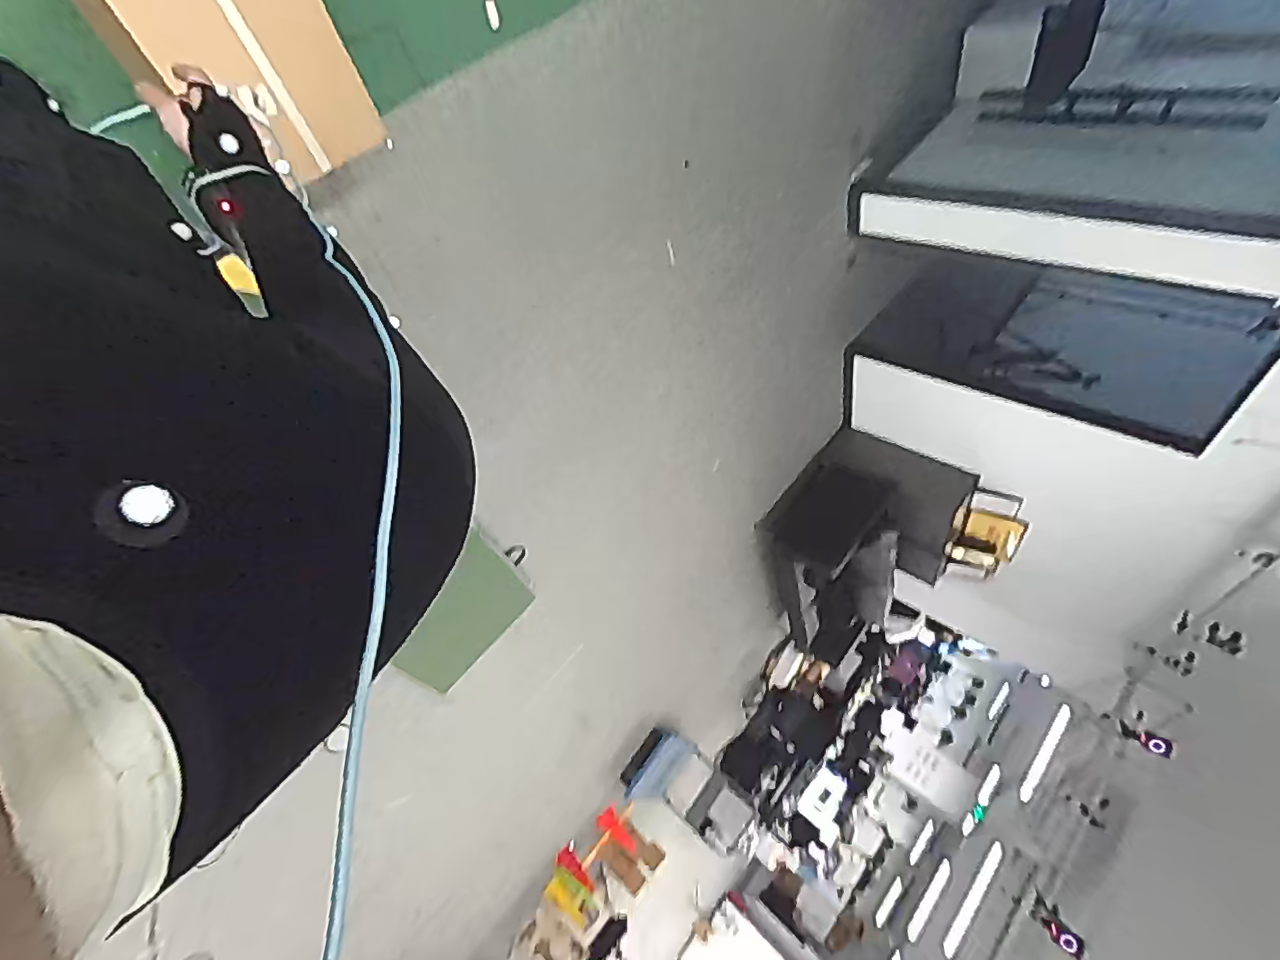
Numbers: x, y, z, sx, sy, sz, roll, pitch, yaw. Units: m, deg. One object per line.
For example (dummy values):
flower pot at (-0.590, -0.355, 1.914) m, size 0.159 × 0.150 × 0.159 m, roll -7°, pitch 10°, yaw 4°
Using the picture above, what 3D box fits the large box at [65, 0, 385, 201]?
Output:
large box at (-0.794, -0.823, 1.034) m, size 0.320 × 0.320 × 0.408 m, roll -44°, pitch 143°, yaw -21°
